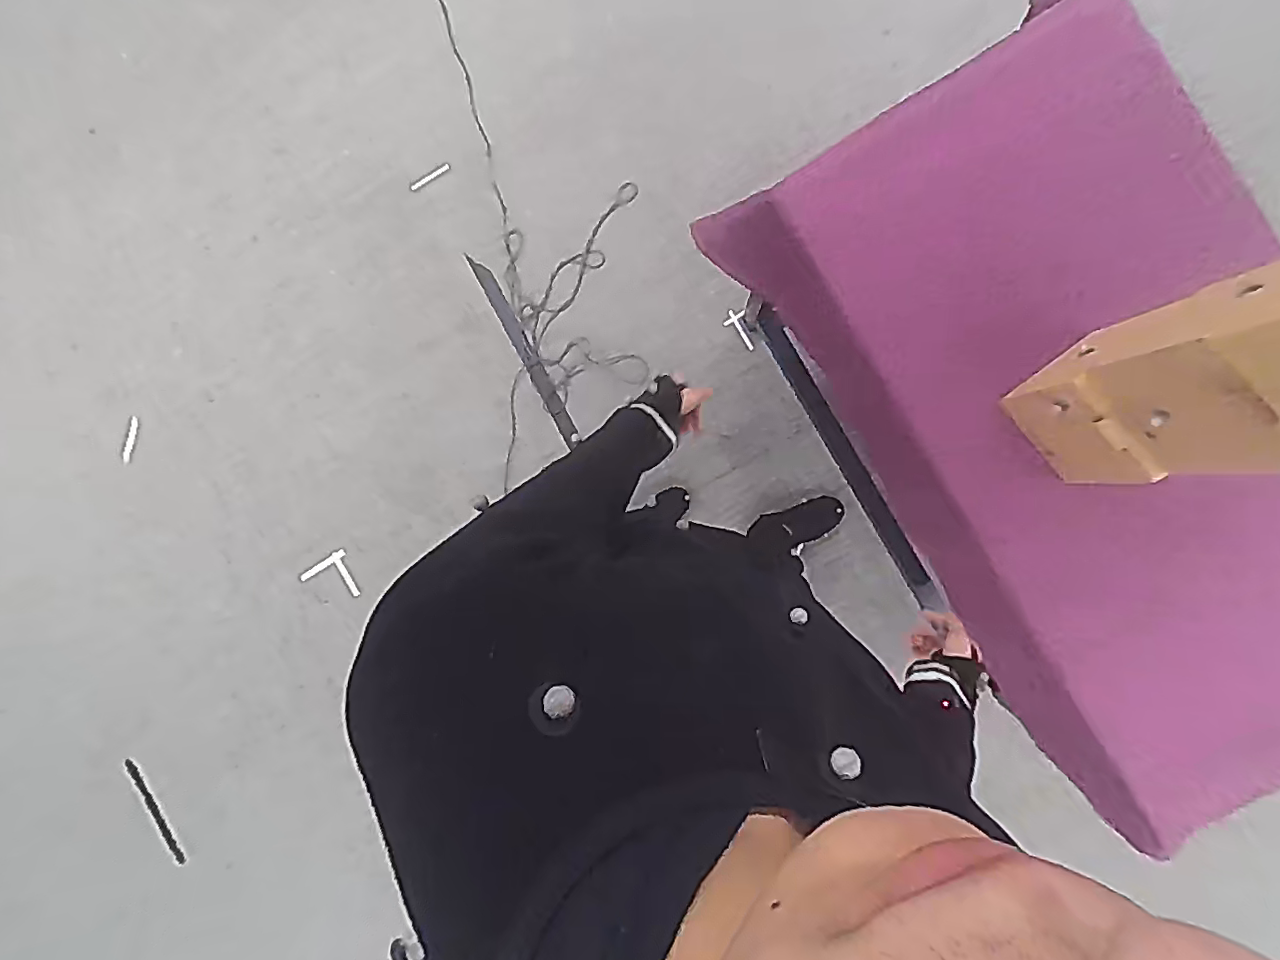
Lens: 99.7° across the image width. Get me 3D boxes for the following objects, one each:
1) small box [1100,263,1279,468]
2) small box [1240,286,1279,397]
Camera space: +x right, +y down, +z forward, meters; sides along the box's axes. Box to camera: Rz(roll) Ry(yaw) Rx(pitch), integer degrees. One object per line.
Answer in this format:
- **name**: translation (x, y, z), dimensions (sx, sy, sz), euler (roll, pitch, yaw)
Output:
- **small box**: translation (0.684, -0.128, 0.597), dimensions (0.179, 0.176, 0.168), euler (-36, 87, 4)
- **small box**: translation (0.666, -0.129, 0.435), dimensions (0.179, 0.176, 0.168), euler (-39, 87, 2)
